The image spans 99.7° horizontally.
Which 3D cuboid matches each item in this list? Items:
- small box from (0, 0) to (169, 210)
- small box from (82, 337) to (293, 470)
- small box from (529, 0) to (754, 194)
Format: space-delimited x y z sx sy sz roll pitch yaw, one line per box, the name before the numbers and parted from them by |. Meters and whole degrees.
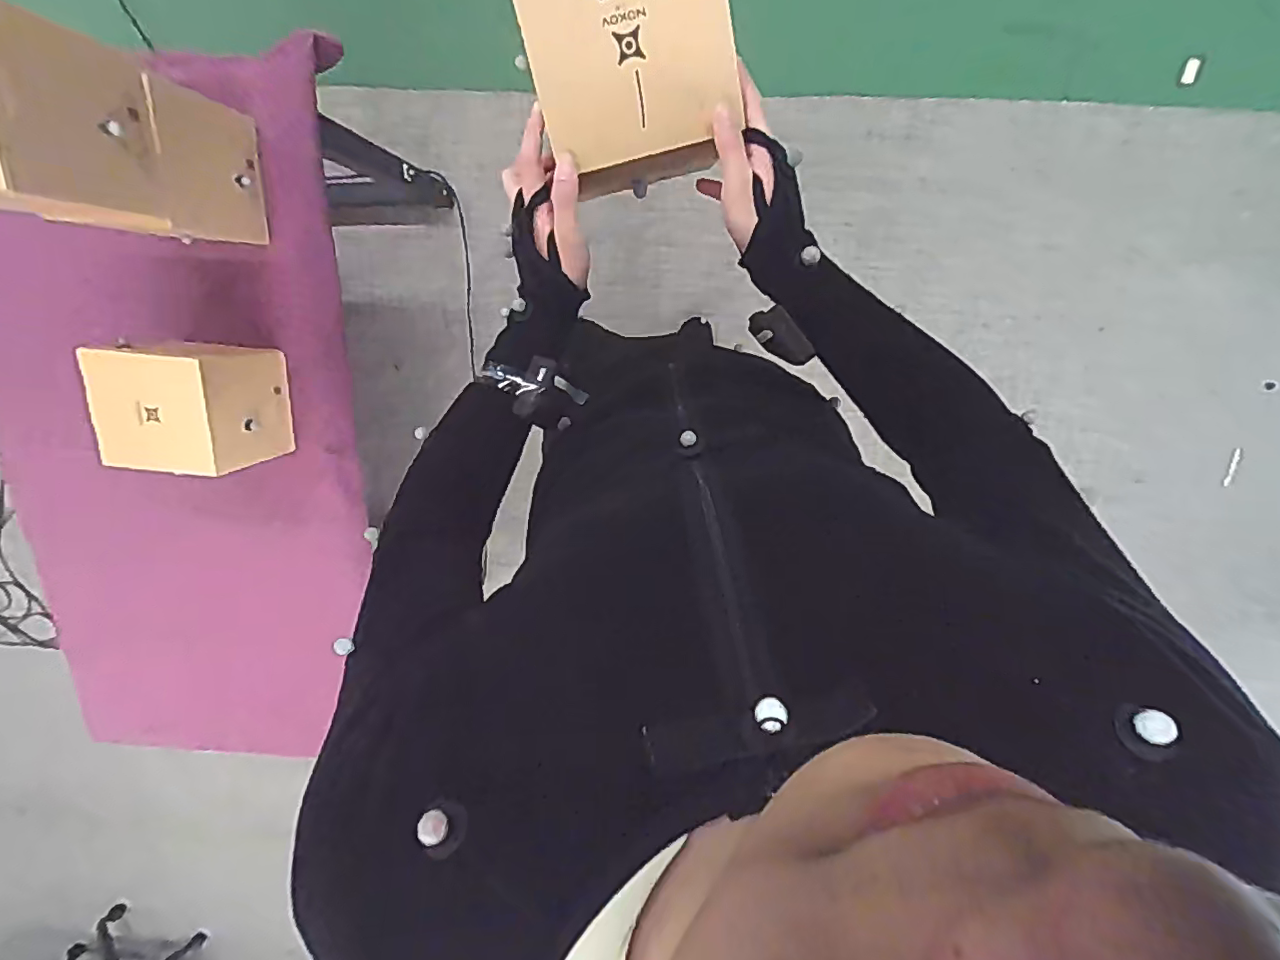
small box | -0.654 -0.384 0.559 0.179 0.176 0.168 4 109 3
small box | -0.658 -0.123 0.816 0.179 0.176 0.168 6 108 4
small box | -0.005 -0.385 0.498 0.168 0.176 0.179 -13 112 2
